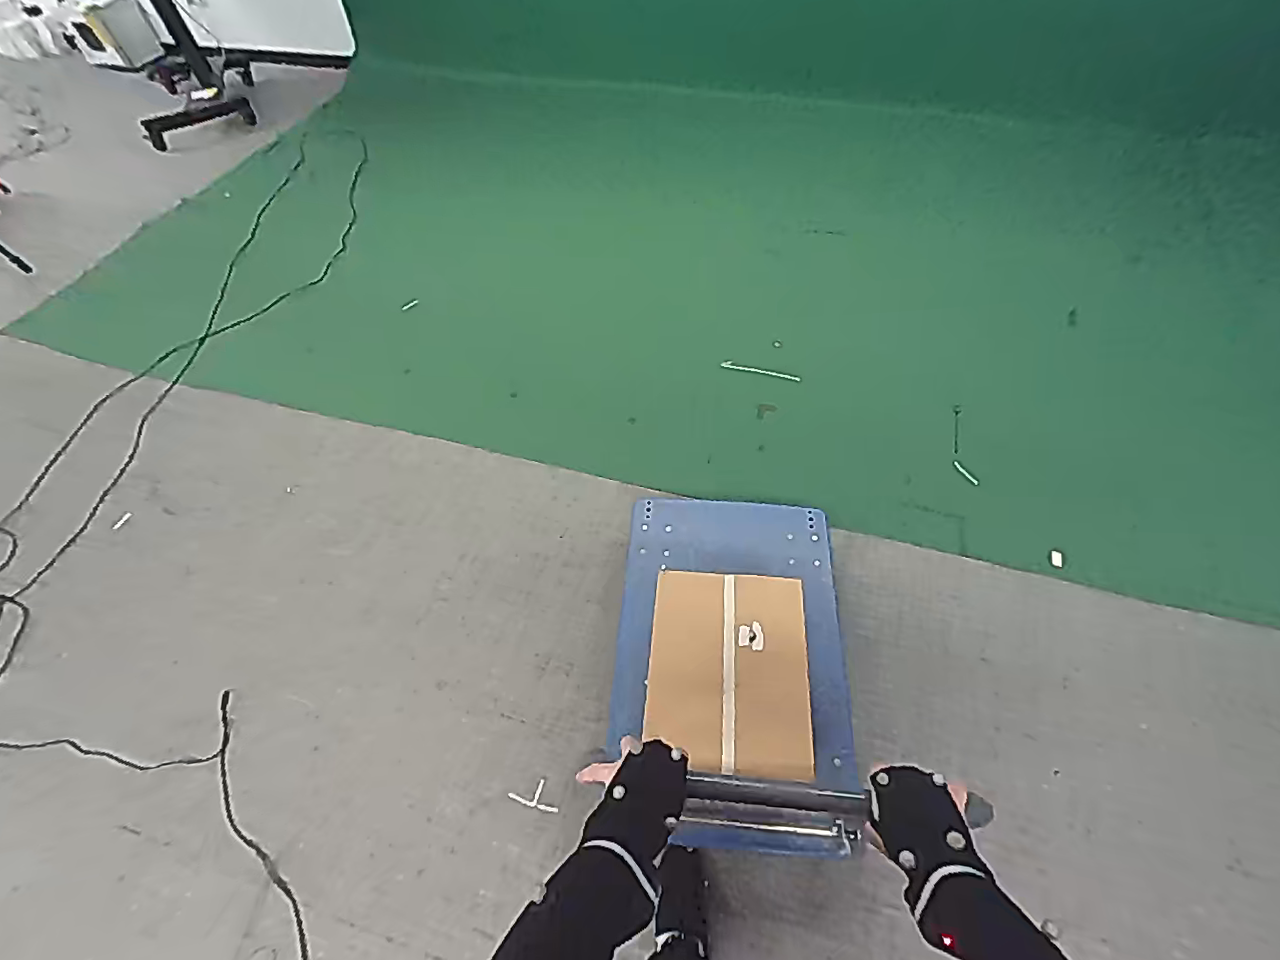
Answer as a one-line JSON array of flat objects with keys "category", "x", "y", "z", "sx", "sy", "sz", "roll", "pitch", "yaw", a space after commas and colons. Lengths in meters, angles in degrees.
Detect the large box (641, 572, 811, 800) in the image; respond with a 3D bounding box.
[{"category": "large box", "x": 0.179, "y": 0.462, "z": 1.209, "sx": 0.320, "sy": 0.320, "sz": 0.408, "roll": 3, "pitch": 55, "yaw": 5}]
